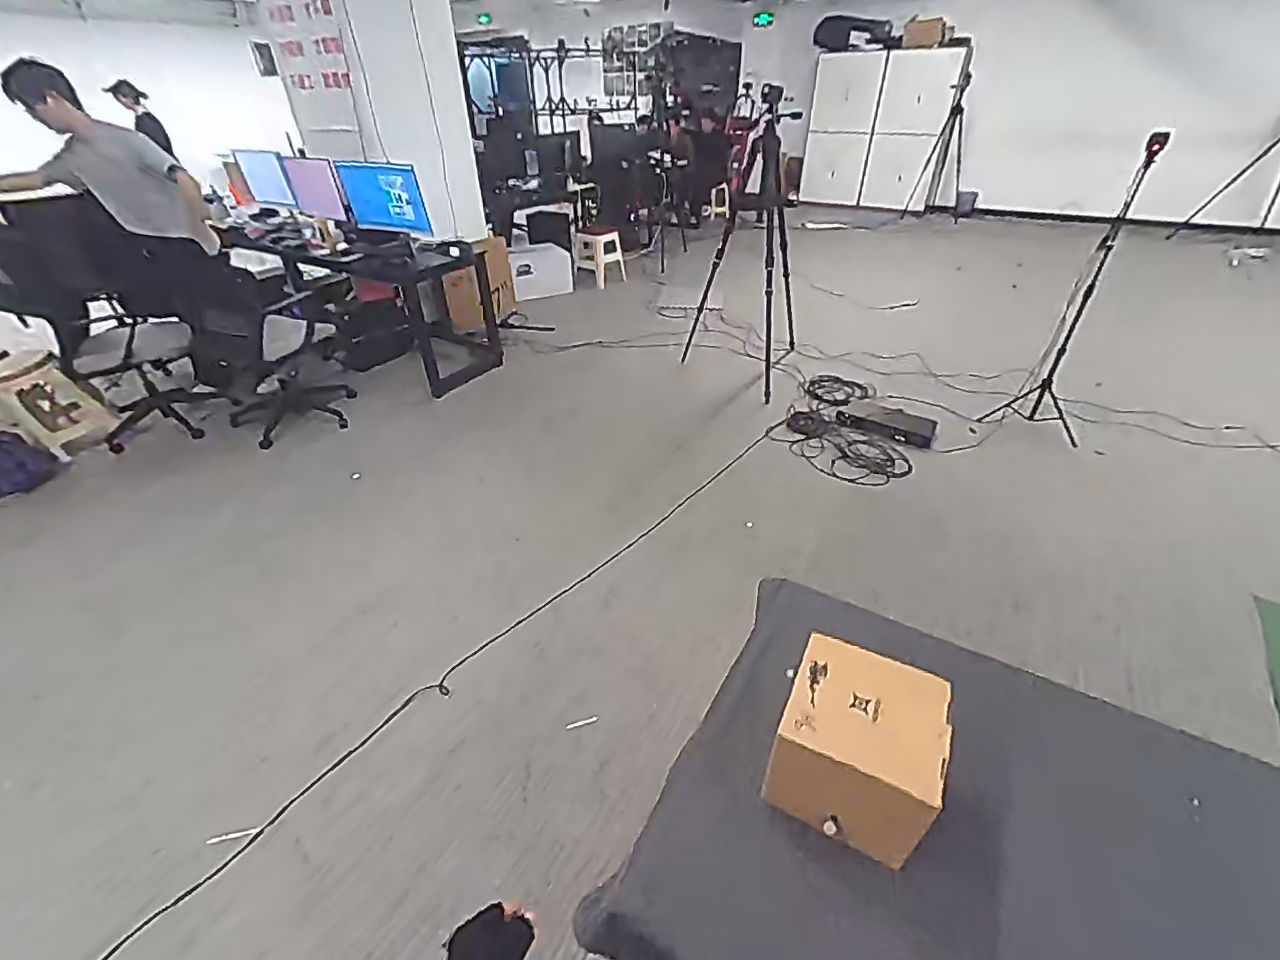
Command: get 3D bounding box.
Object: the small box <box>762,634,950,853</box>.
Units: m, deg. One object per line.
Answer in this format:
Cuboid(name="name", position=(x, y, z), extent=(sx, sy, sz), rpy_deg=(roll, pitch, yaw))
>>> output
Cuboid(name="small box", position=(0.274, 0.341, 0.701), extent=(0.179, 0.176, 0.168), rpy_deg=(18, 40, 23))
